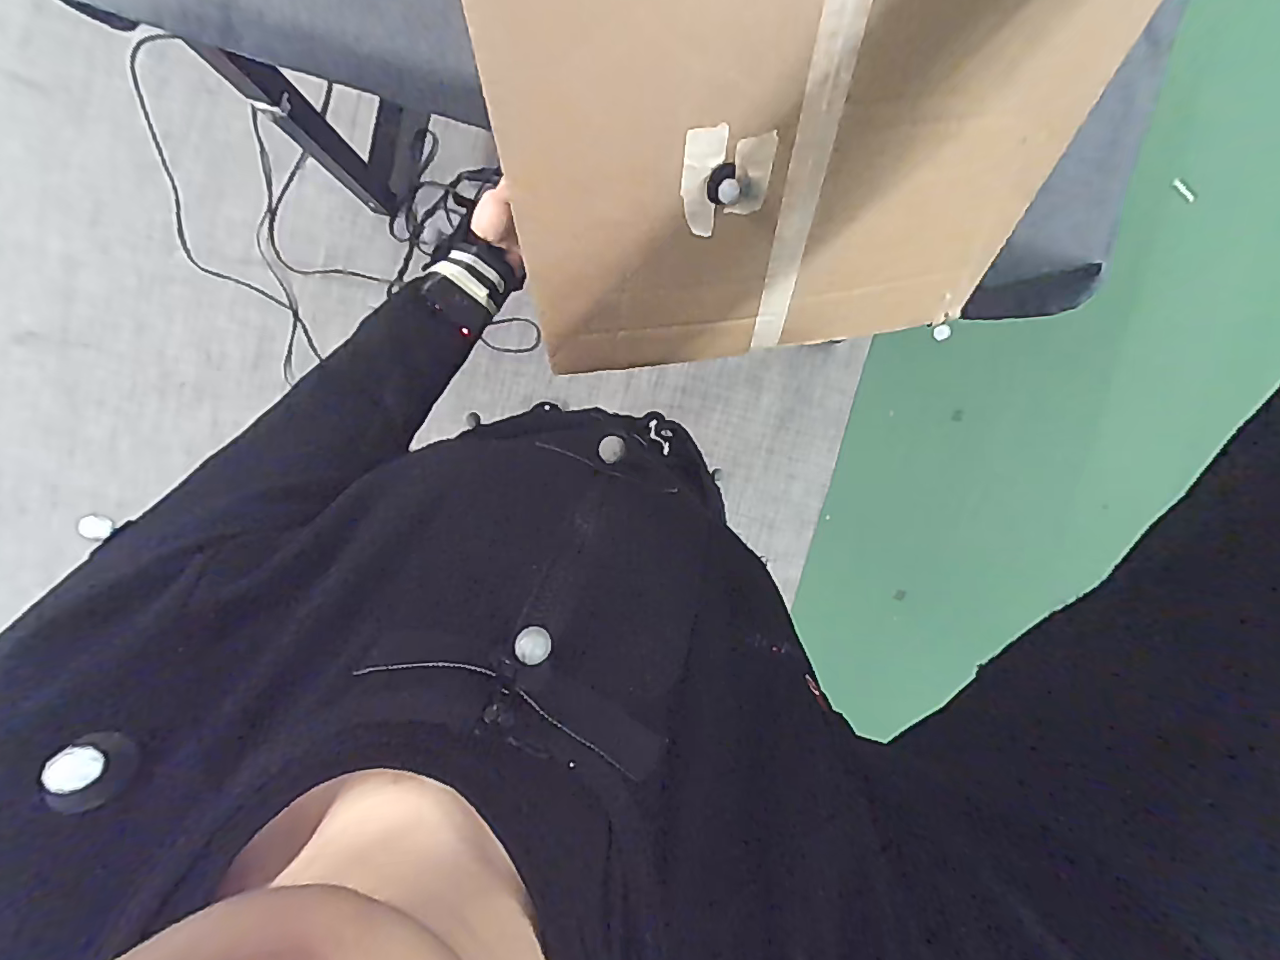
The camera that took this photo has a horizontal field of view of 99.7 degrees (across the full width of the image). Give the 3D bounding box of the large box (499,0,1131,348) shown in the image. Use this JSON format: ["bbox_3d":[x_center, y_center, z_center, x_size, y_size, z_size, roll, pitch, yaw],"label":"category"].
[{"bbox_3d":[0.067,-0.348,0.314,0.320,0.408,0.320,-9,62,-4],"label":"large box"}]
